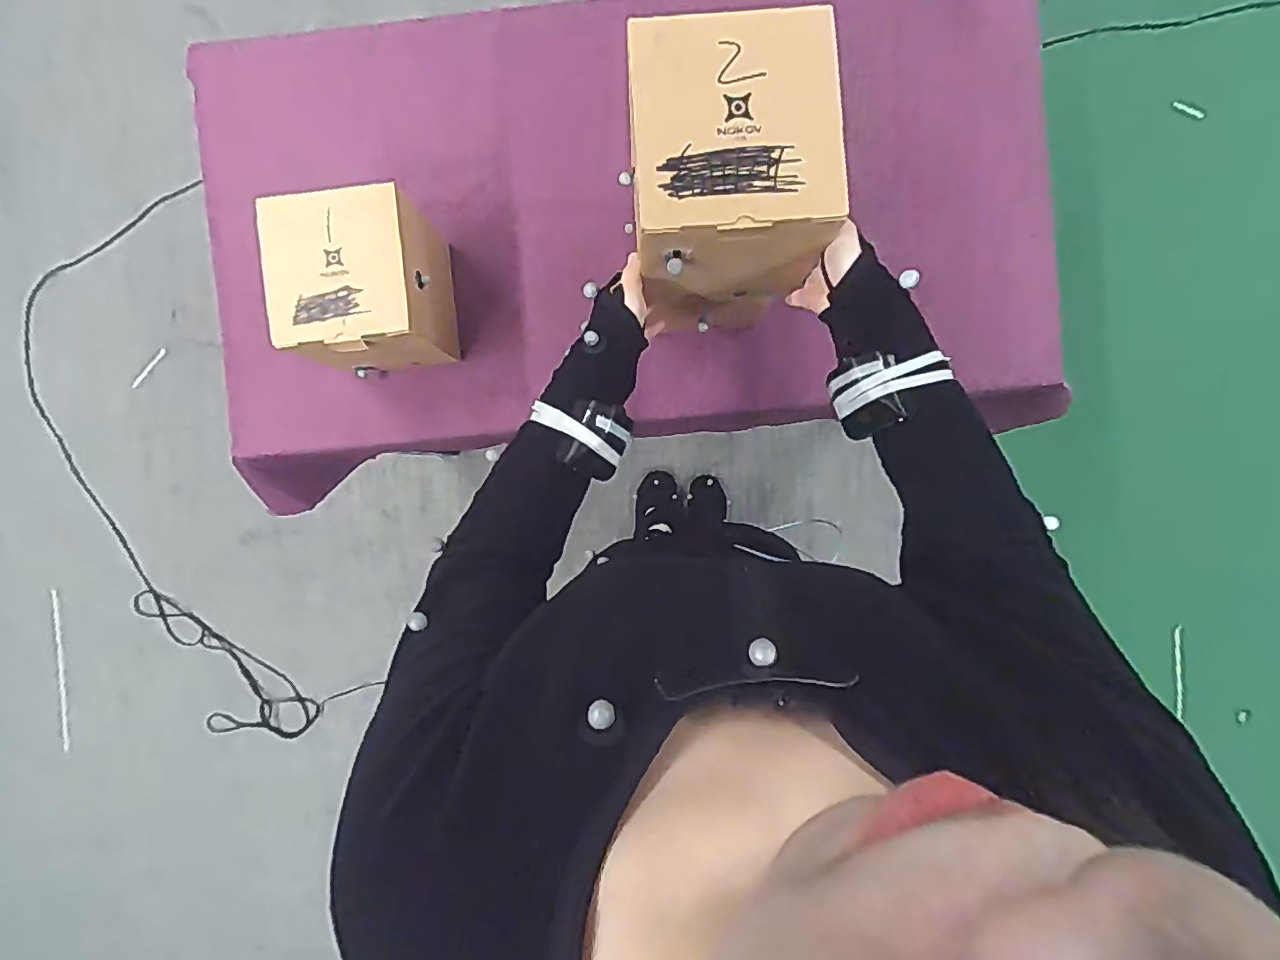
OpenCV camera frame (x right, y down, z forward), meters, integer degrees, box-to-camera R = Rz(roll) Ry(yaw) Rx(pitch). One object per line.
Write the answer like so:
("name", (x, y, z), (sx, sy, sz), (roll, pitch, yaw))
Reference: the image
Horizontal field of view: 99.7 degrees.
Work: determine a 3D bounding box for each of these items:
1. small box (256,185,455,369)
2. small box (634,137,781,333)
("small box", (-0.353, -0.247, 0.705), (0.168, 0.176, 0.179), (-6, 90, 1))
("small box", (0.077, -0.299, 0.692), (0.168, 0.176, 0.179), (-2, 91, 2))
